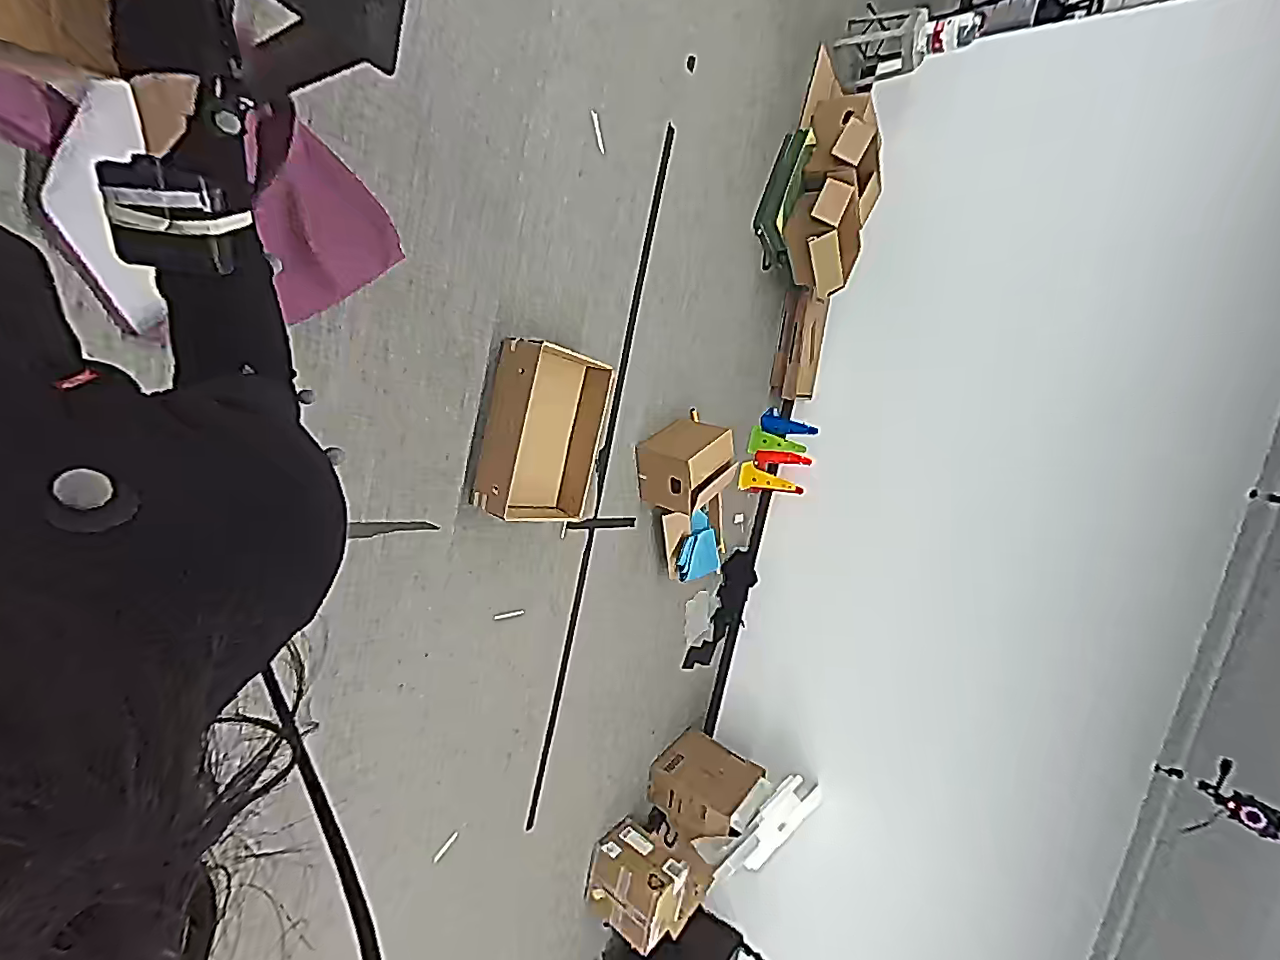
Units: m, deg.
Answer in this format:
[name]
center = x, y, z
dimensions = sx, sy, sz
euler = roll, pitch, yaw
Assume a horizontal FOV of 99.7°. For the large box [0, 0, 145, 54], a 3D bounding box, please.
[large box]
center = -0.520, -0.436, 0.214
dimensions = 0.408, 0.320, 0.320
euler = -15, 126, -52
